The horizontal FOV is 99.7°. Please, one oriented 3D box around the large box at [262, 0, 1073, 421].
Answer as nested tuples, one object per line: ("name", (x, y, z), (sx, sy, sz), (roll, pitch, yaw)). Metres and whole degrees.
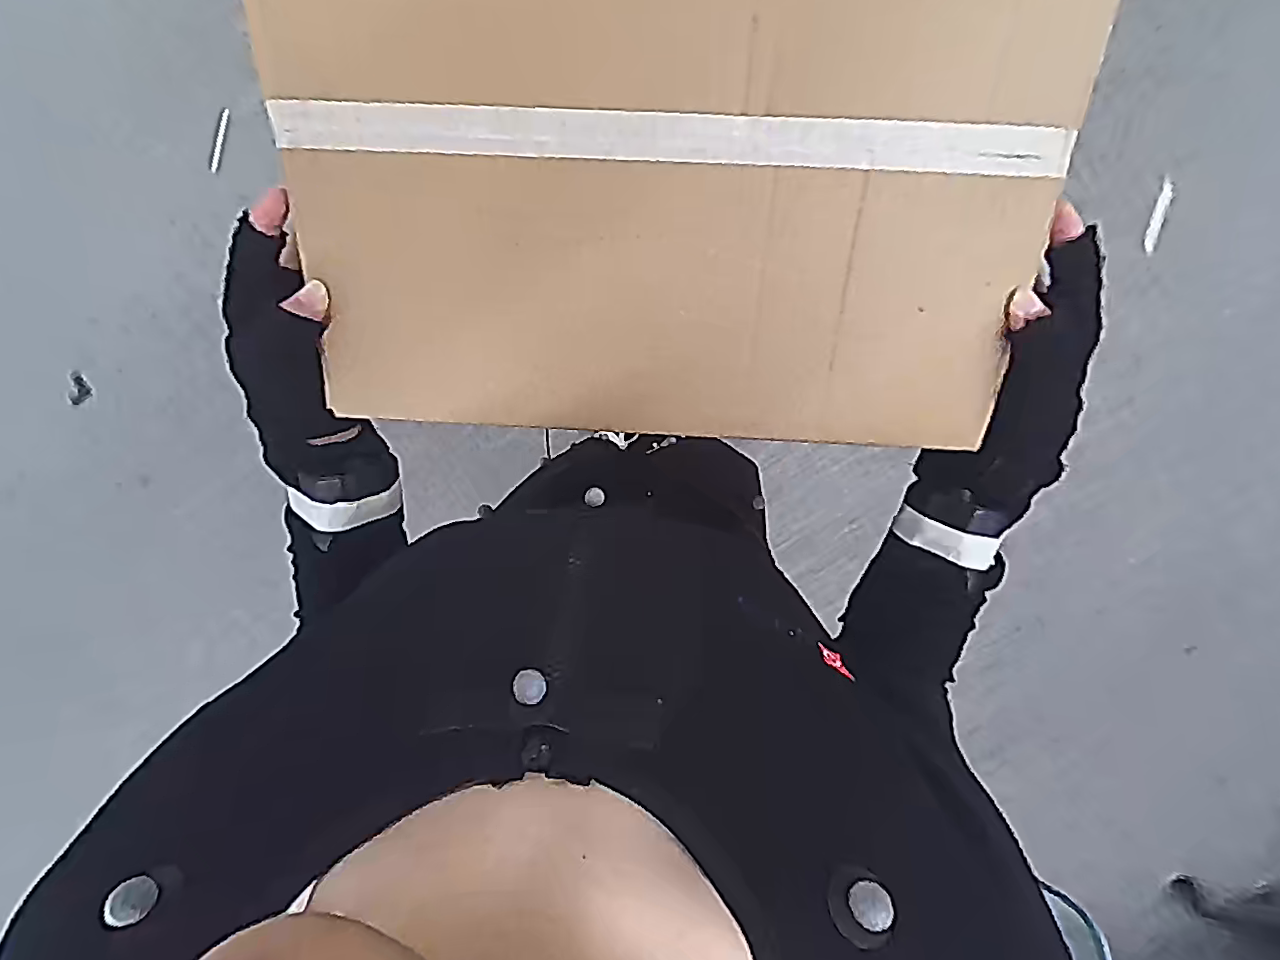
("large box", (0.011, -0.238, 0.425), (0.408, 0.320, 0.320), (1, 114, 1))
